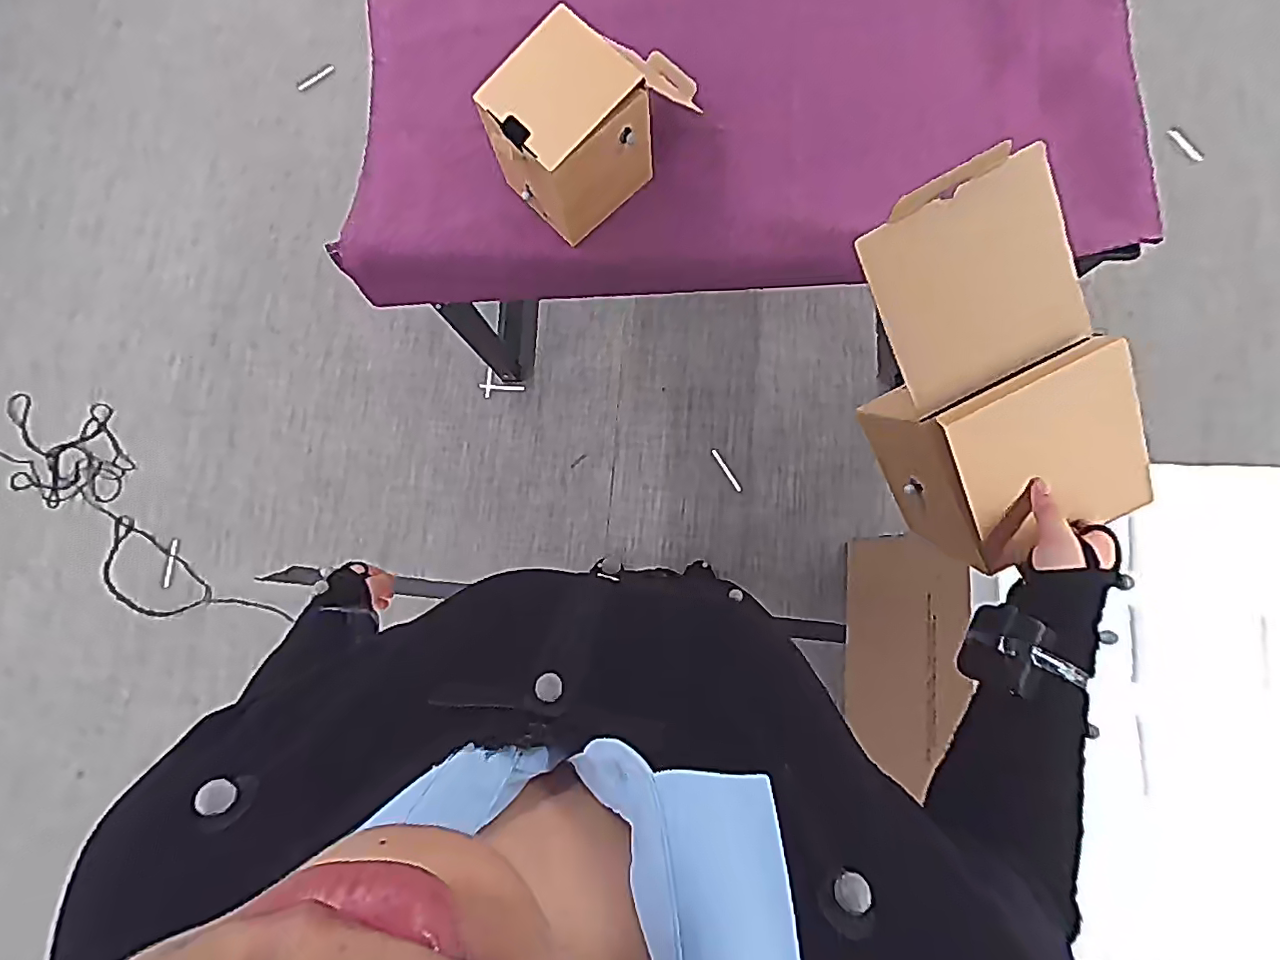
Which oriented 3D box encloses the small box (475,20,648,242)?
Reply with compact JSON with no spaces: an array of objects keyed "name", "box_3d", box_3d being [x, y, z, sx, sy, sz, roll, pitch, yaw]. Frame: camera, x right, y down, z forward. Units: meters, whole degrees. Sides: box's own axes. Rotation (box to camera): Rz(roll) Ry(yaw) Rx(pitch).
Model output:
[{"name":"small box","box_3d":[-0.103,-0.500,0.796,0.179,0.176,0.168,-43,80,-4]}]
